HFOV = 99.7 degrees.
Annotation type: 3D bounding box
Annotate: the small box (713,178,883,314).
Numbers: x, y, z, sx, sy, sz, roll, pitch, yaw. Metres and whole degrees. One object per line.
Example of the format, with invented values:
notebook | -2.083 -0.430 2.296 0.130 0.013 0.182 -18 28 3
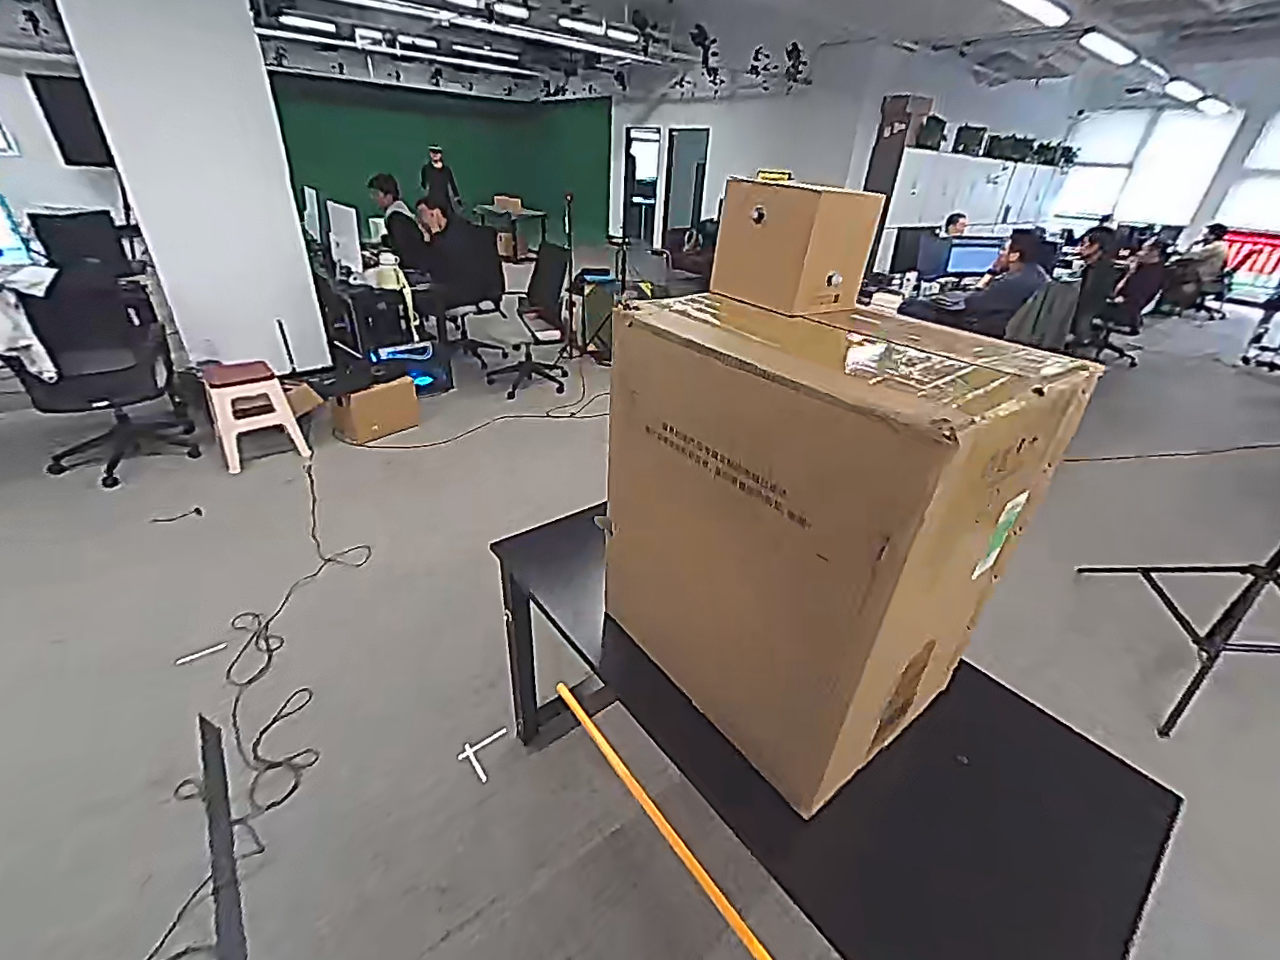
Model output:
small box | 0.236 -0.364 0.844 0.168 0.176 0.179 -18 38 -34
